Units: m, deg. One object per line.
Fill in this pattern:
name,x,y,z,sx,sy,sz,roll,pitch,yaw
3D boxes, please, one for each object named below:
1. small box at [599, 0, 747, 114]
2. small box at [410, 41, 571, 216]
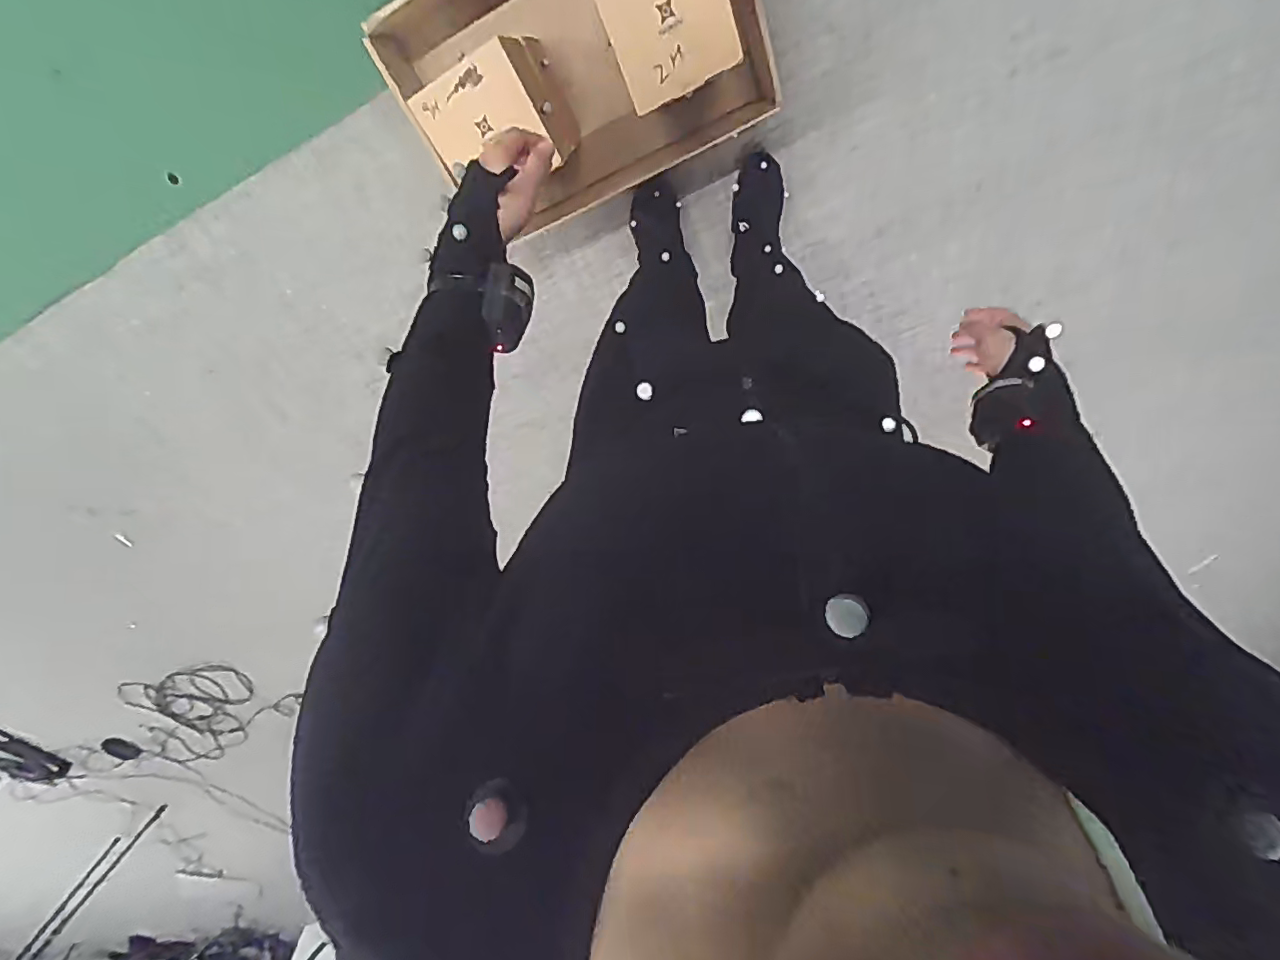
small box,0.041,-0.672,0.787,0.168,0.176,0.179,-19,127,16
small box,-0.225,-0.567,0.870,0.168,0.176,0.179,-22,127,16
